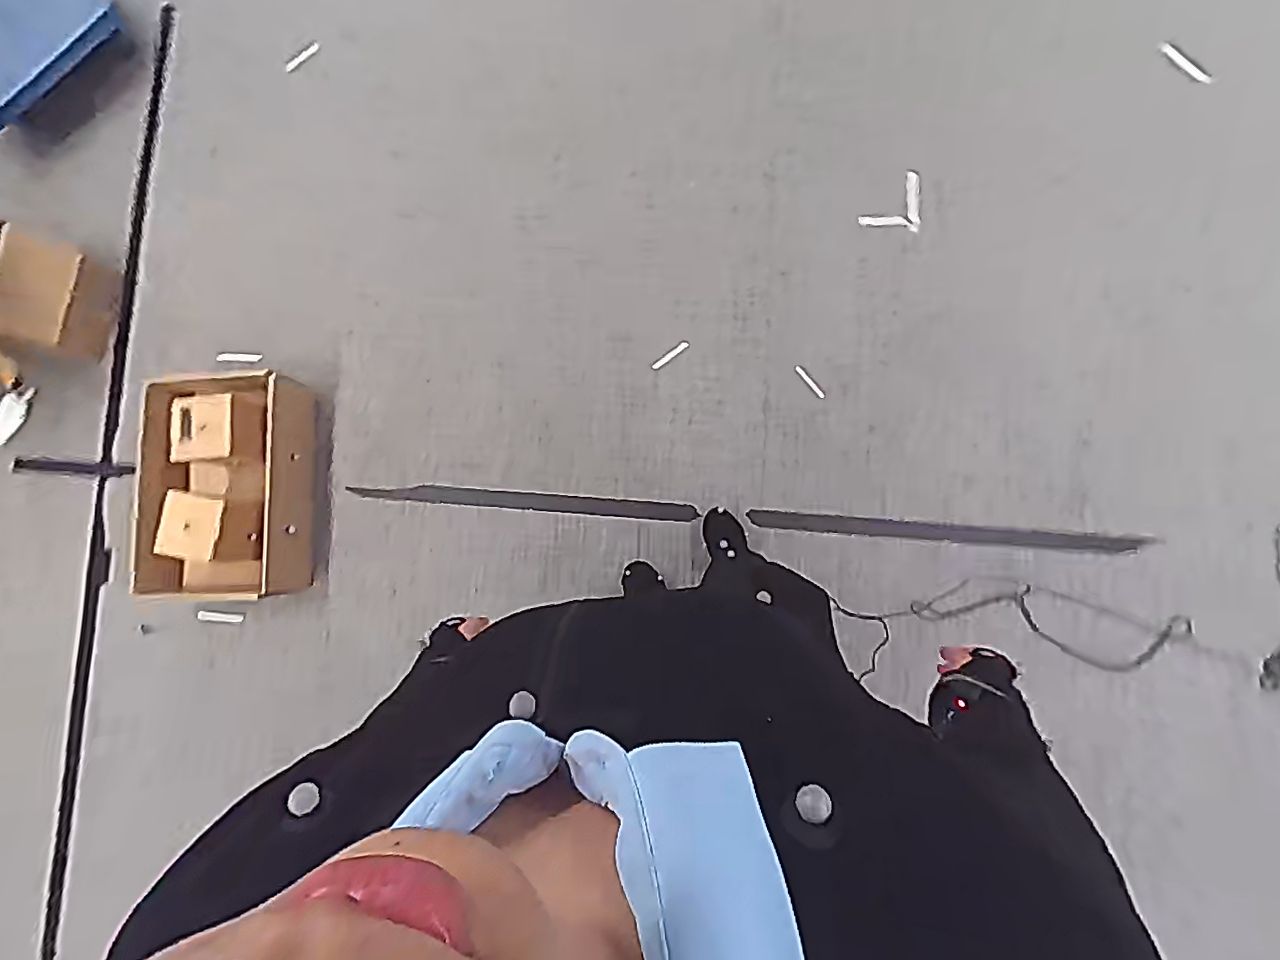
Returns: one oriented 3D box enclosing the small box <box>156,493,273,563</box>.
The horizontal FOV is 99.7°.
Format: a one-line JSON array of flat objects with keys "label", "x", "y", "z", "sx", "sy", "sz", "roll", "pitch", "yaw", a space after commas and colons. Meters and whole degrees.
[{"label": "small box", "x": -1.181, "y": 0.135, "z": 1.510, "sx": 0.179, "sy": 0.176, "sz": 0.168, "roll": 8, "pitch": 85, "yaw": 7}]
